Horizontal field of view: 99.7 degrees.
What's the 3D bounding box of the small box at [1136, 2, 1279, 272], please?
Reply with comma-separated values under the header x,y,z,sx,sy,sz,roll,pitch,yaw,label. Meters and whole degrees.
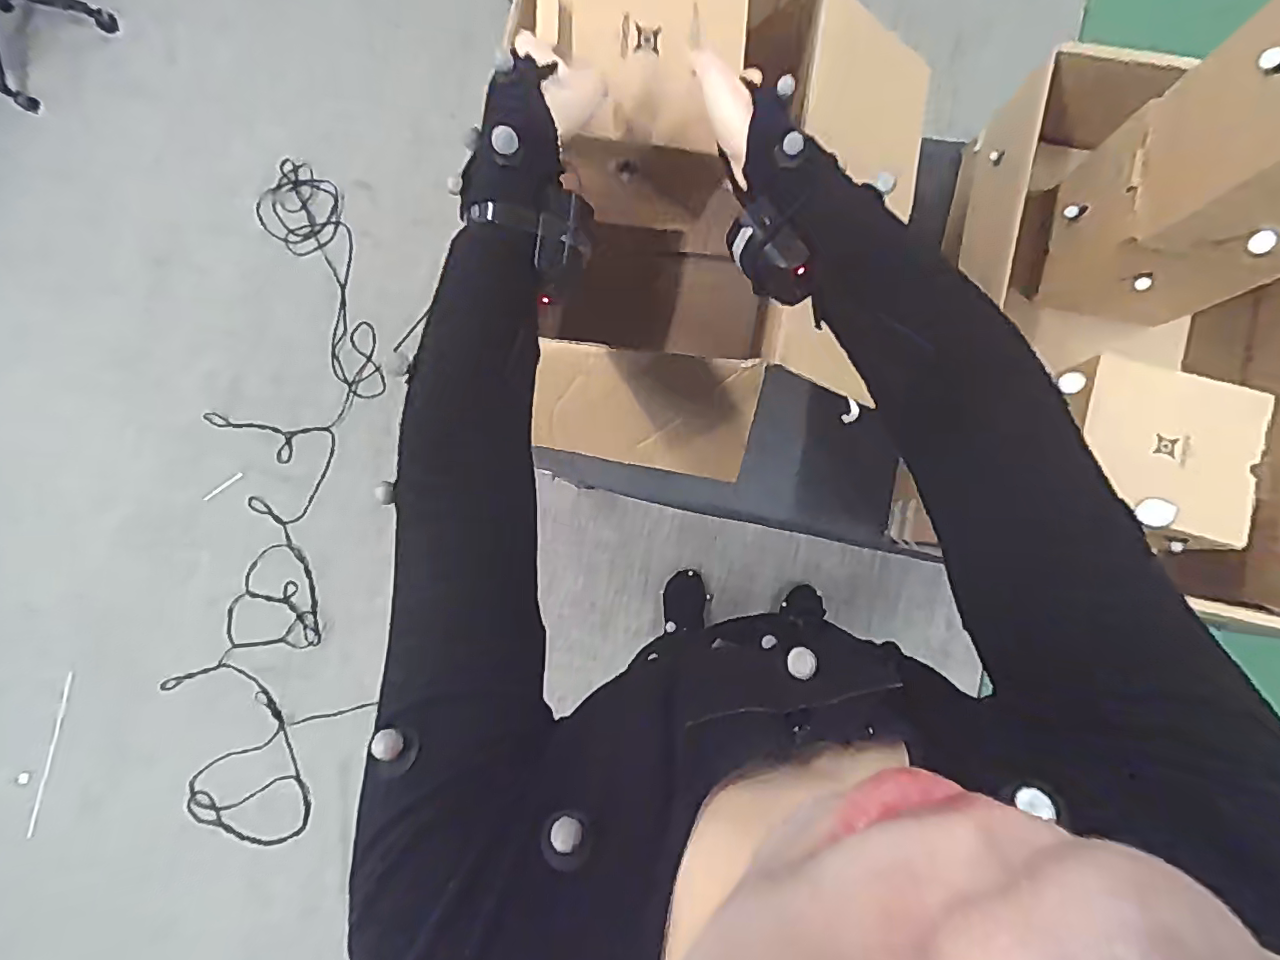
x,y,z,sx,sy,sz,roll,pitch,yaw,label
0.615,-0.322,0.496,0.168,0.176,0.179,12,87,5,small box
